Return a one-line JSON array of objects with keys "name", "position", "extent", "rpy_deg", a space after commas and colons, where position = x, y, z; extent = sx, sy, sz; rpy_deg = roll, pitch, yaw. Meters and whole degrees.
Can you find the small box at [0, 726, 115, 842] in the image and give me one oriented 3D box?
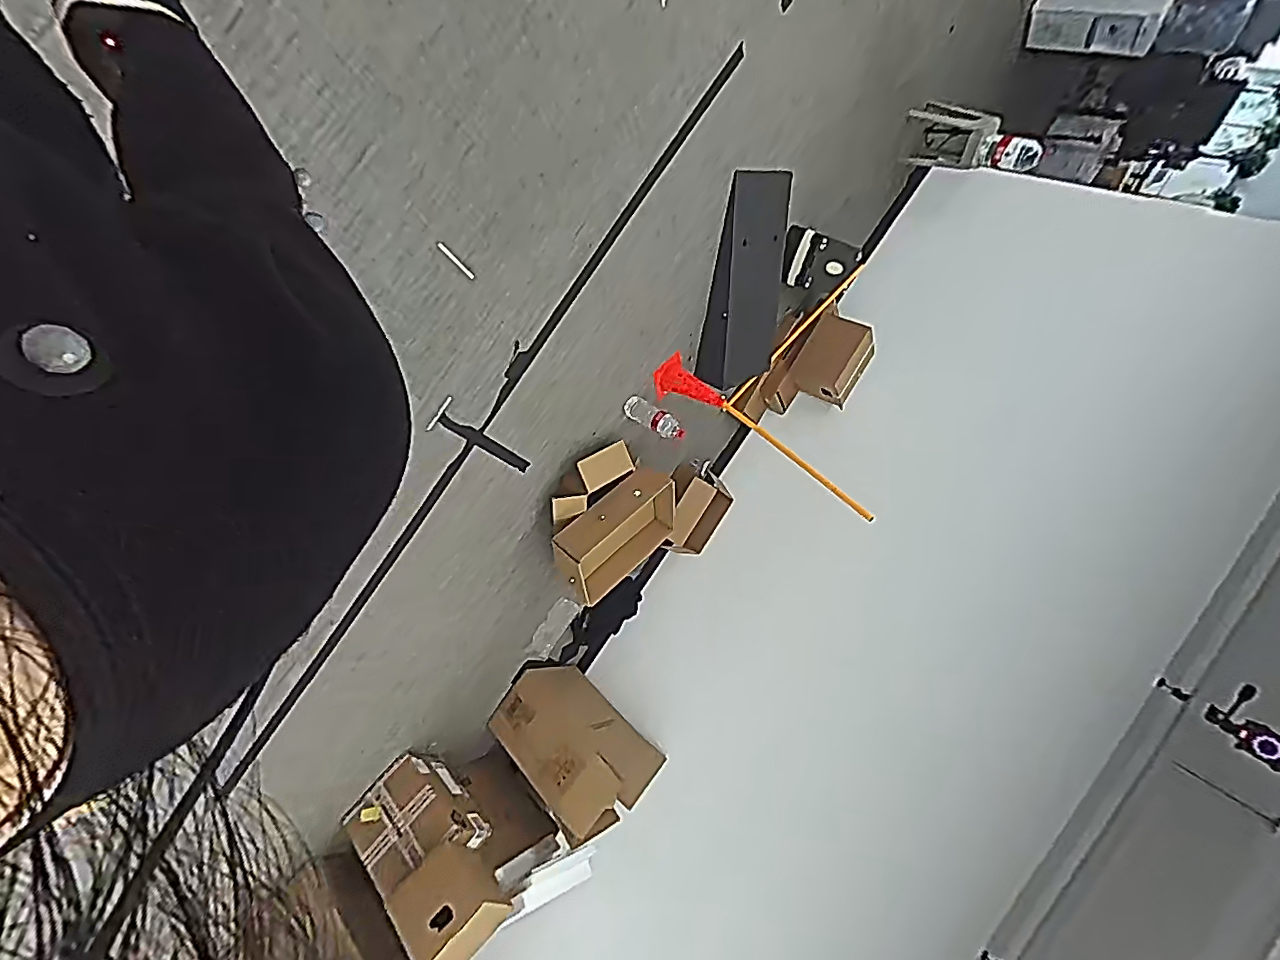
[{"name": "small box", "position": [-1.510, 0.773, 1.399], "extent": [0.168, 0.176, 0.179], "rpy_deg": [-21, 136, -45]}]
